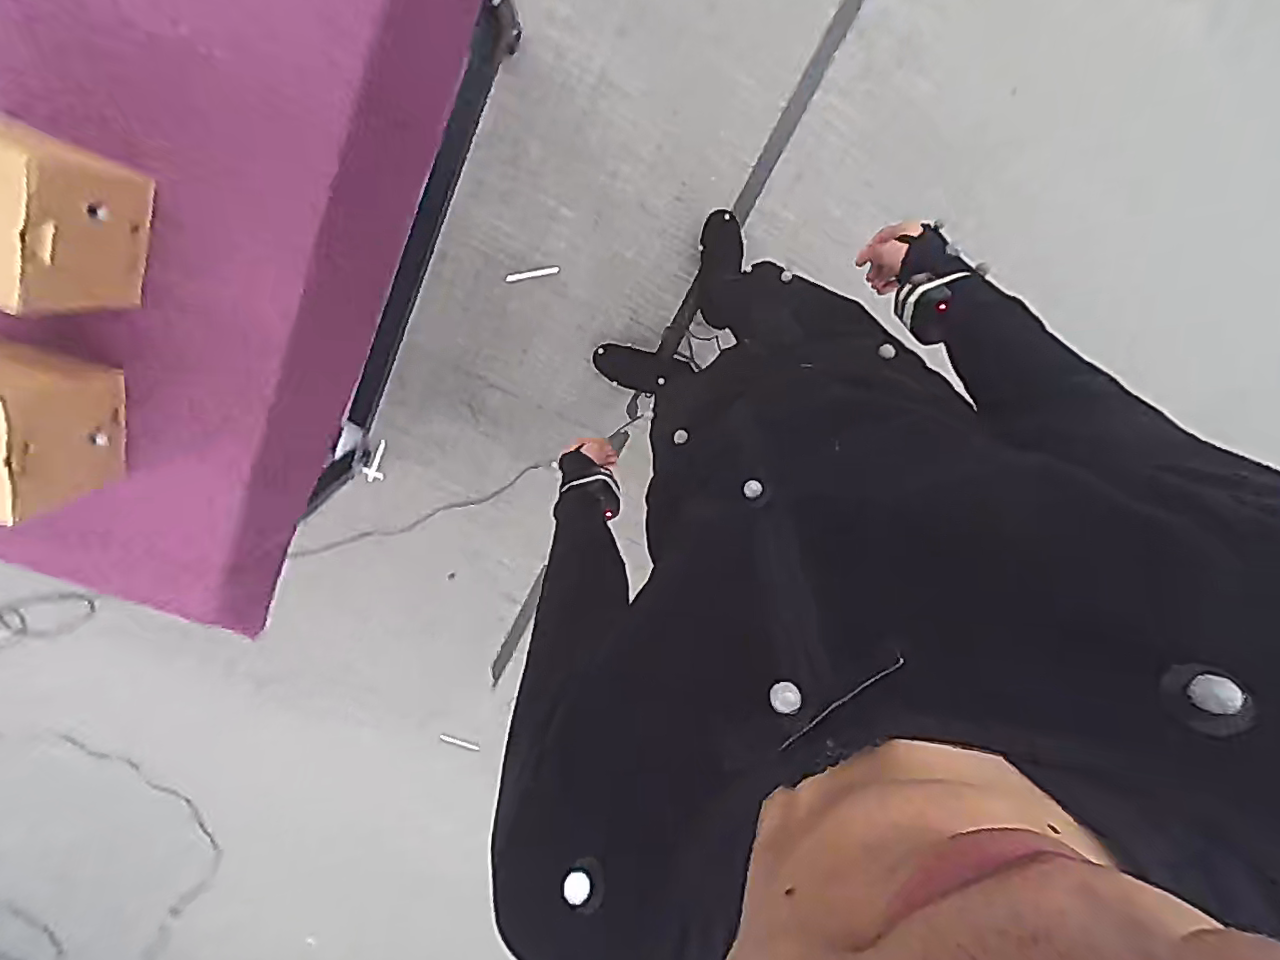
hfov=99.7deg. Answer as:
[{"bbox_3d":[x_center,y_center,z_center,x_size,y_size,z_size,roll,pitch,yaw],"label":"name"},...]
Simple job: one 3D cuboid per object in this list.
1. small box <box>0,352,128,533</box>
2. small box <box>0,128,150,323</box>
[{"bbox_3d":[-0.814,-0.058,0.686,0.179,0.176,0.168,14,109,-10],"label":"small box"},{"bbox_3d":[-0.711,-0.295,0.608,0.179,0.176,0.168,21,107,-12],"label":"small box"}]
